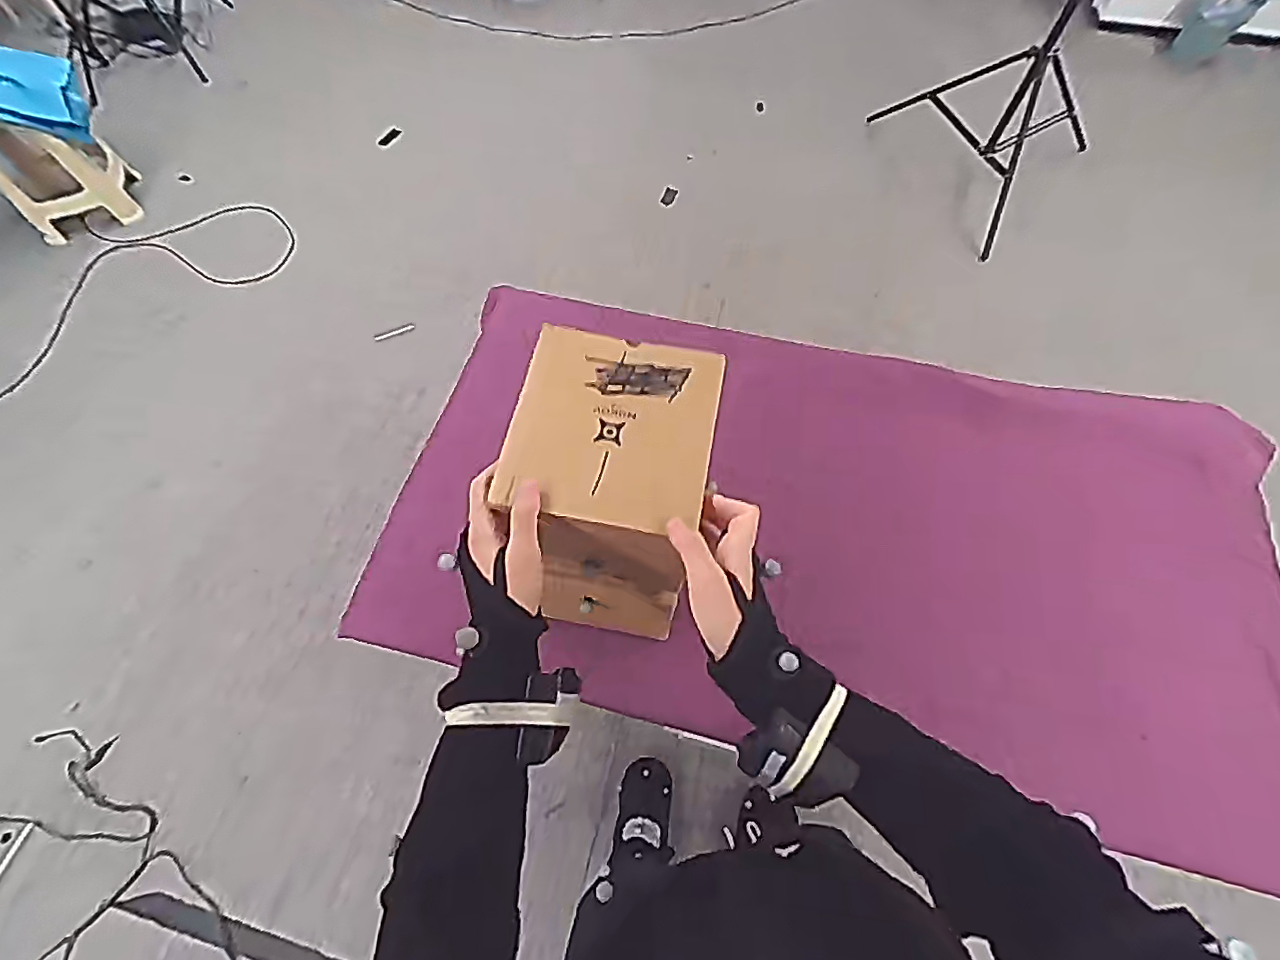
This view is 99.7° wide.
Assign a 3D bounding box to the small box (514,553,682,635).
[{"bbox_3d":[-0.034,0.085,0.675,0.179,0.176,0.168,10,63,6],"label":"small box"}]

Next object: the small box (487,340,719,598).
[{"bbox_3d":[-0.027,-0.002,0.526,0.168,0.176,0.179,11,64,4],"label":"small box"}]
